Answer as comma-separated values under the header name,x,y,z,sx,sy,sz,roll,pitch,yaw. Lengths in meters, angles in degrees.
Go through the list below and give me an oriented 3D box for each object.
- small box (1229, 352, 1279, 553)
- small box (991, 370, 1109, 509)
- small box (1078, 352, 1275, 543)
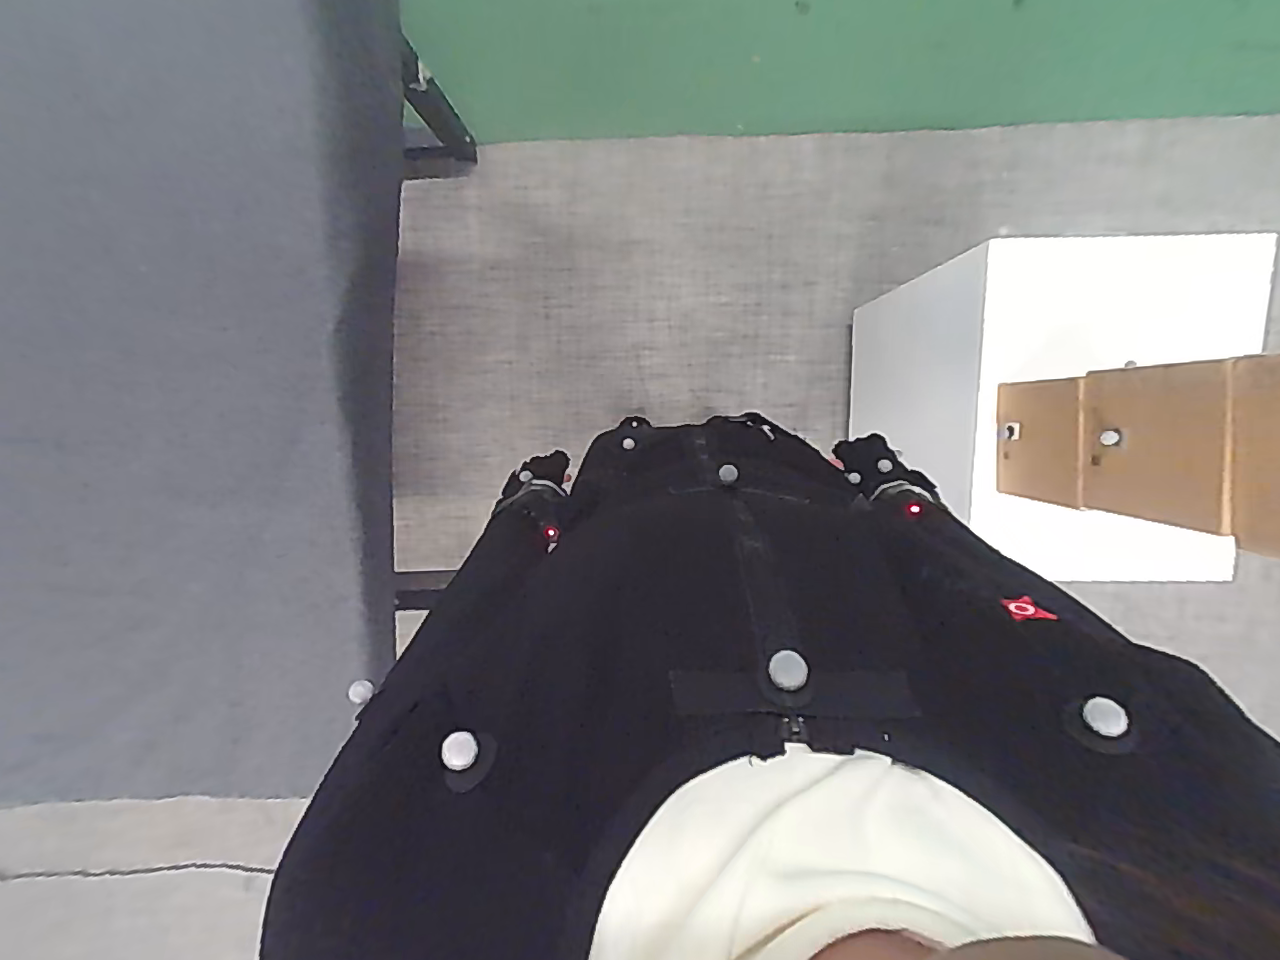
name,x,y,z,sx,sy,sz,roll,pitch,yaw
small box,0.598,-0.021,0.395,0.168,0.176,0.179,-6,96,3
small box,0.607,-0.061,0.720,0.179,0.176,0.168,-5,97,4
small box,0.606,-0.043,0.557,0.179,0.176,0.168,-7,97,1
